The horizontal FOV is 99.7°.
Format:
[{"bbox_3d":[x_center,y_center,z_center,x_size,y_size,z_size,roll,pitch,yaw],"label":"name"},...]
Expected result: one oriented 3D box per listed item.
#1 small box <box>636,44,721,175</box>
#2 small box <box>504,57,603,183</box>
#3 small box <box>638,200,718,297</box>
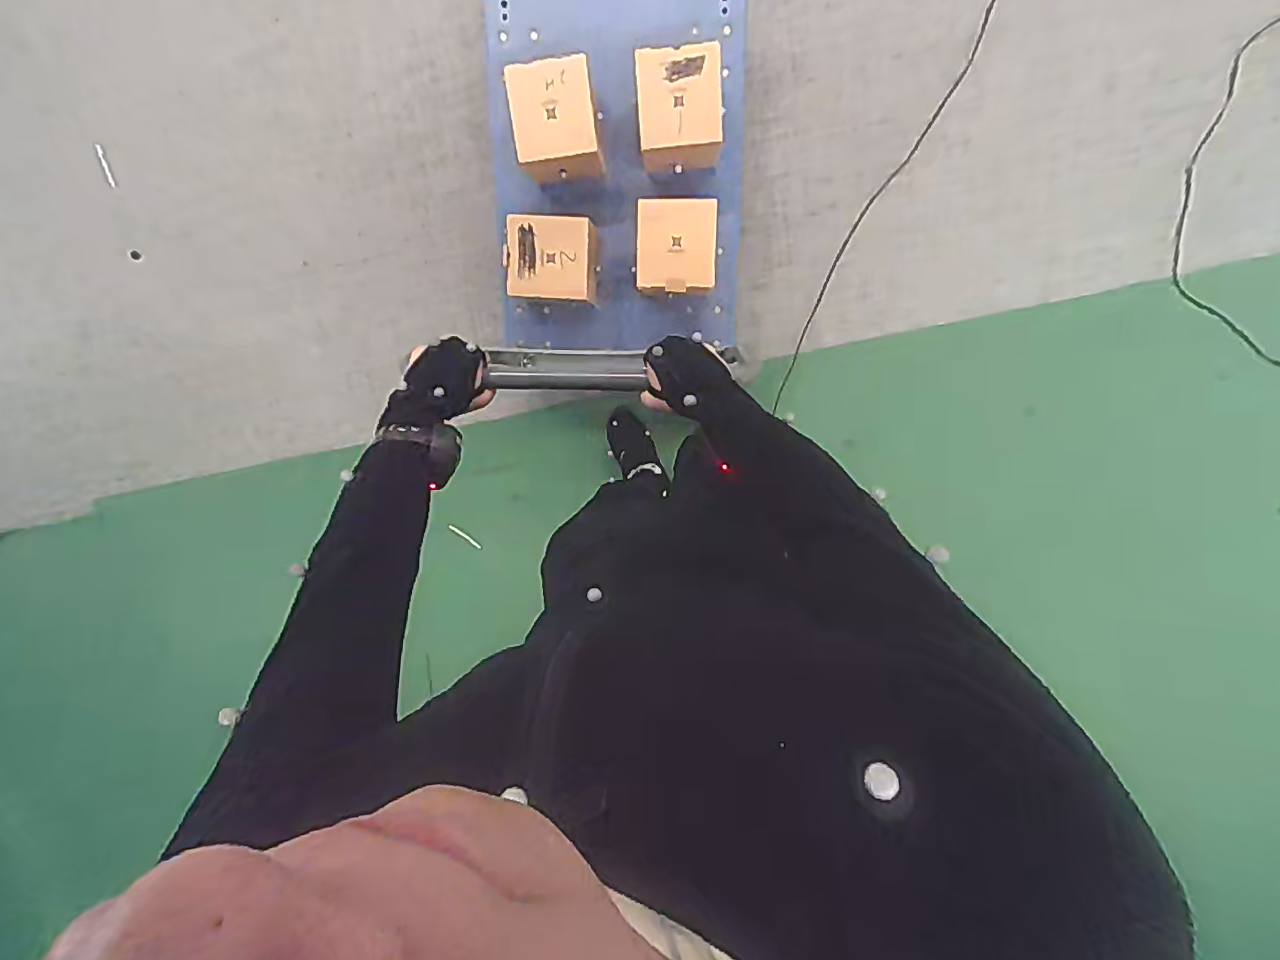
[{"bbox_3d":[0.080,-0.770,1.139,0.168,0.176,0.179,-3,105,4],"label":"small box"},{"bbox_3d":[-0.175,-0.754,1.155,0.168,0.176,0.179,-6,104,3],"label":"small box"},{"bbox_3d":[0.080,-0.510,1.207,0.168,0.176,0.179,1,105,3],"label":"small box"}]
